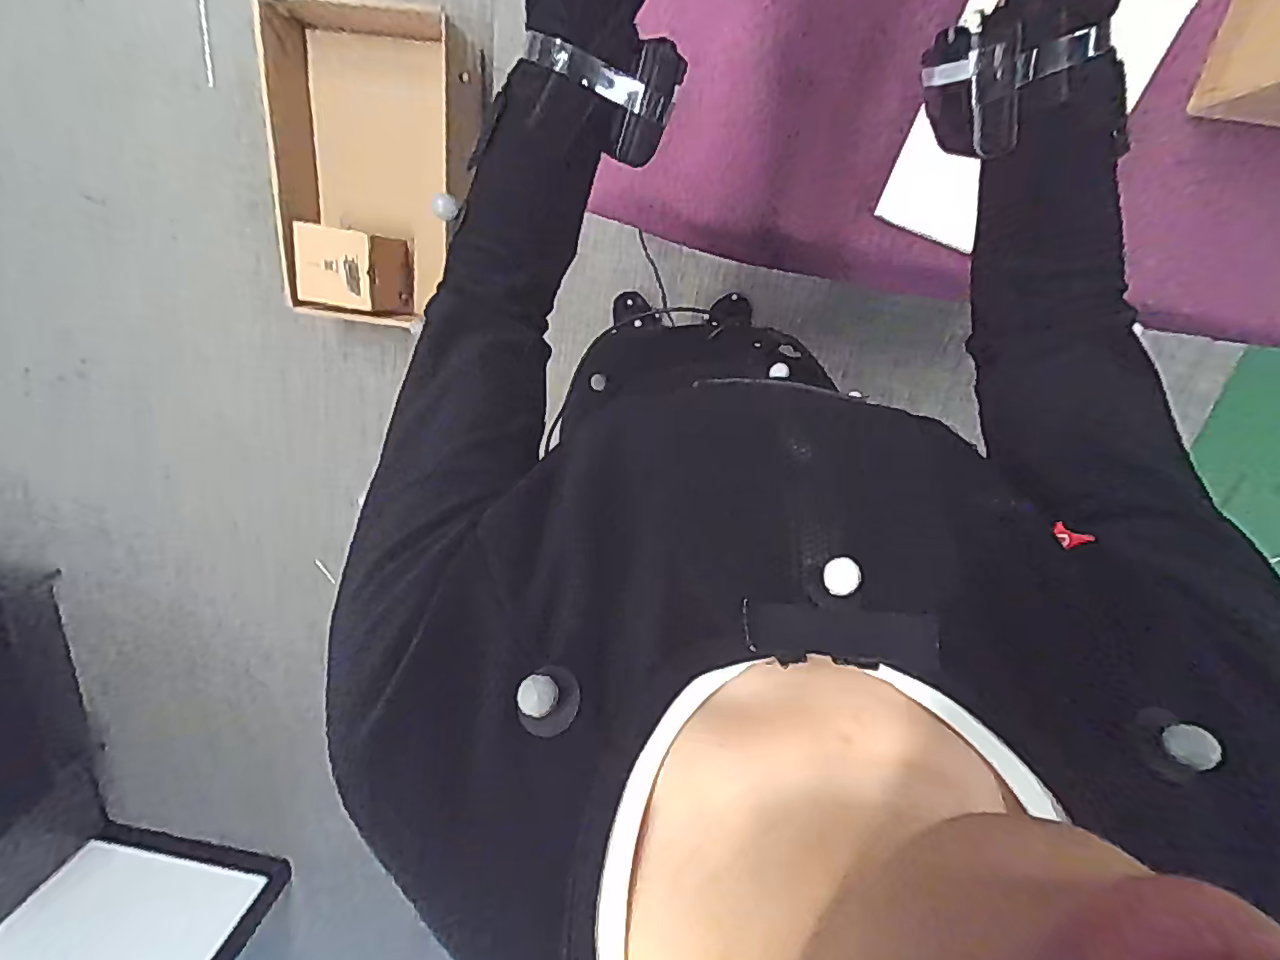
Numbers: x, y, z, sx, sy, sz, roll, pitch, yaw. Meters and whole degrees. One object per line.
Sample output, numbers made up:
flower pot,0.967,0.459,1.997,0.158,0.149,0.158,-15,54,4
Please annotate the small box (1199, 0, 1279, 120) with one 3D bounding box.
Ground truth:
small box,0.637,-0.411,0.443,0.168,0.176,0.179,10,110,3
